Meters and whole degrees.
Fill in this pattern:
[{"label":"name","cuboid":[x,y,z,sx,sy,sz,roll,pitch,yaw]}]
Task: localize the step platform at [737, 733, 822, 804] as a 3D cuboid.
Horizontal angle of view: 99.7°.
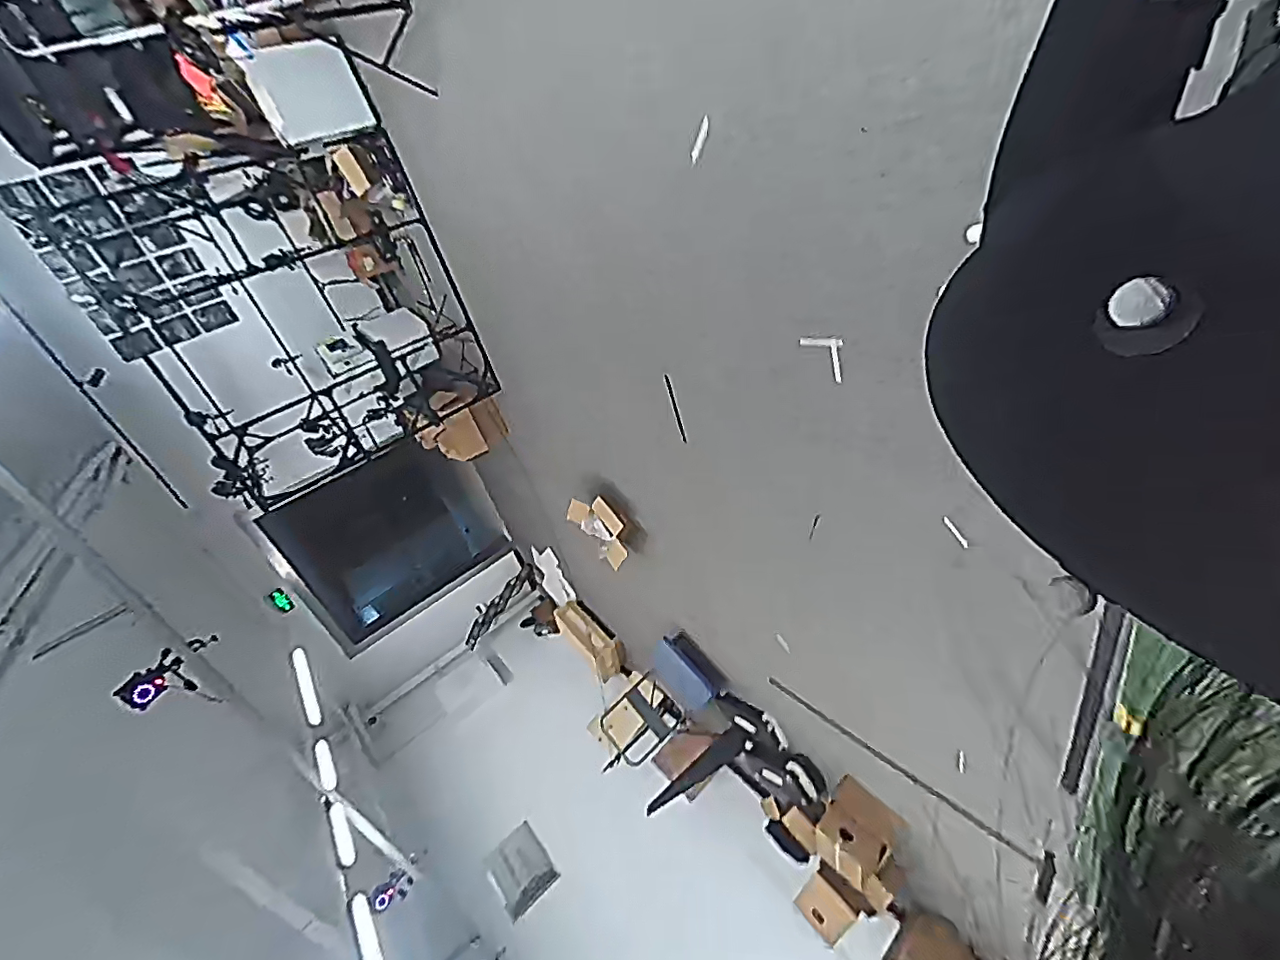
[{"label":"step platform","cuboid":[1.015,2.145,4.033,0.286,0.204,0.684,58,154,-4]}]
